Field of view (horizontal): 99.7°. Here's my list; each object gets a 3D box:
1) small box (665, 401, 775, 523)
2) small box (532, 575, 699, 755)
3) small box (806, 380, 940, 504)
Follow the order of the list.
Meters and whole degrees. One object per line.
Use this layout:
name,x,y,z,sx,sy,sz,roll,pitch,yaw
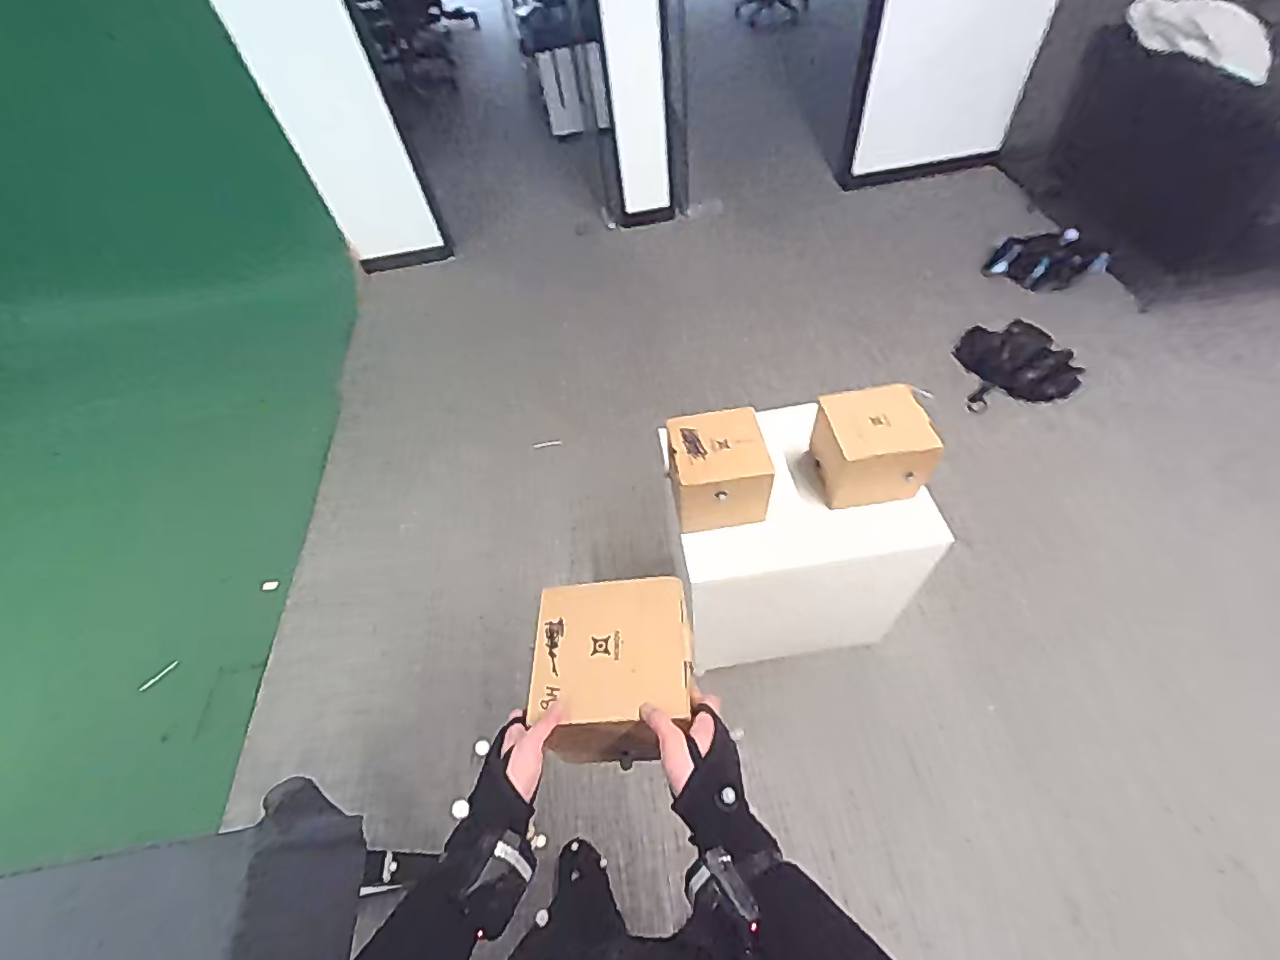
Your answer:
small box,0.147,-0.030,1.058,0.179,0.176,0.168,-7,55,-3
small box,-0.018,0.231,0.668,0.179,0.176,0.168,-4,51,5
small box,0.445,-0.070,1.063,0.179,0.176,0.168,-8,54,1
